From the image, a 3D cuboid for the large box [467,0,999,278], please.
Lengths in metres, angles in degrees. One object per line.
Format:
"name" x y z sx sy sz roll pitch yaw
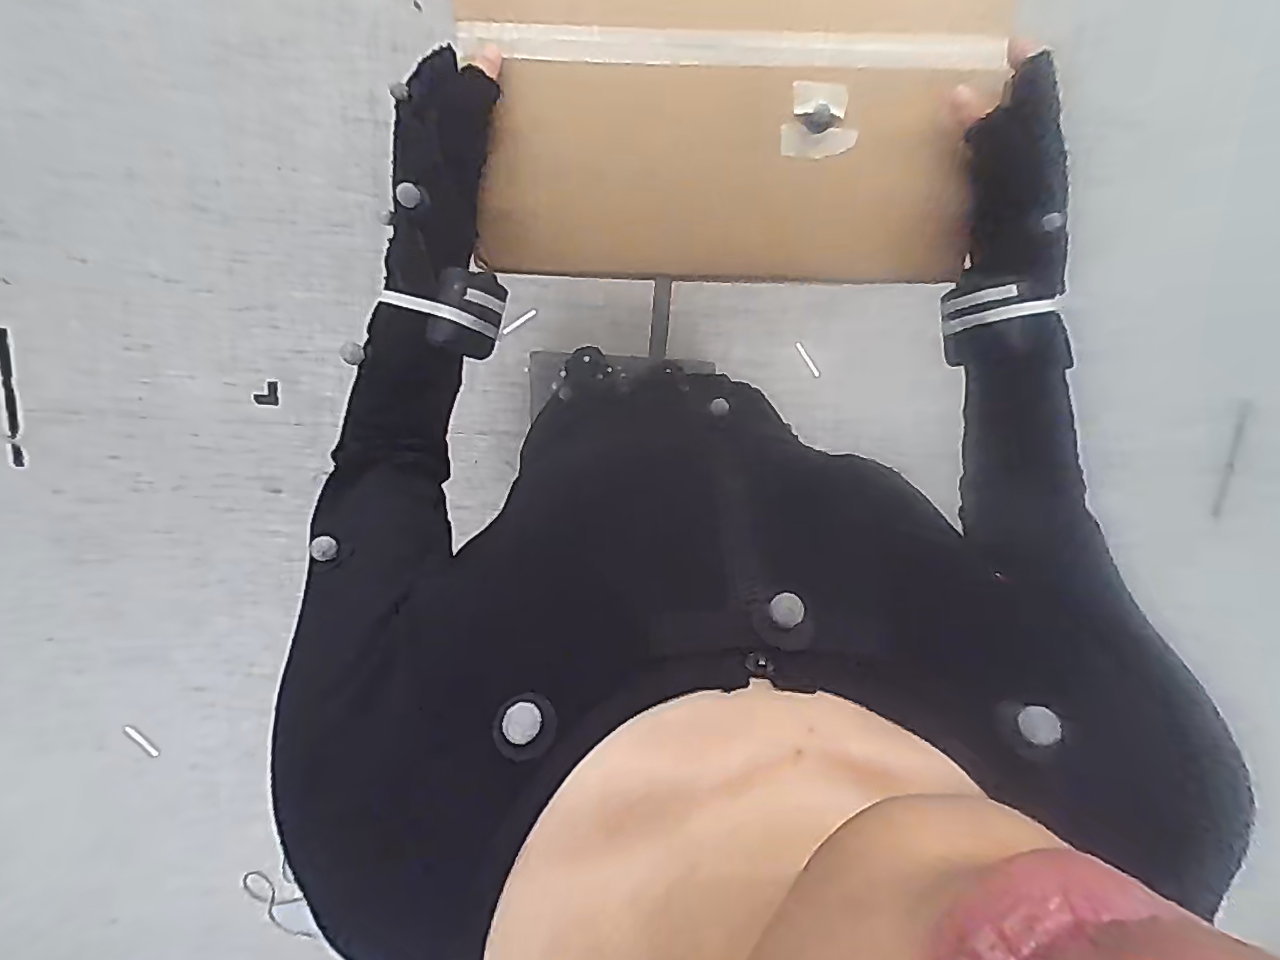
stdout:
"large box" 0.065 -0.376 0.552 0.408 0.320 0.320 1 110 -2
